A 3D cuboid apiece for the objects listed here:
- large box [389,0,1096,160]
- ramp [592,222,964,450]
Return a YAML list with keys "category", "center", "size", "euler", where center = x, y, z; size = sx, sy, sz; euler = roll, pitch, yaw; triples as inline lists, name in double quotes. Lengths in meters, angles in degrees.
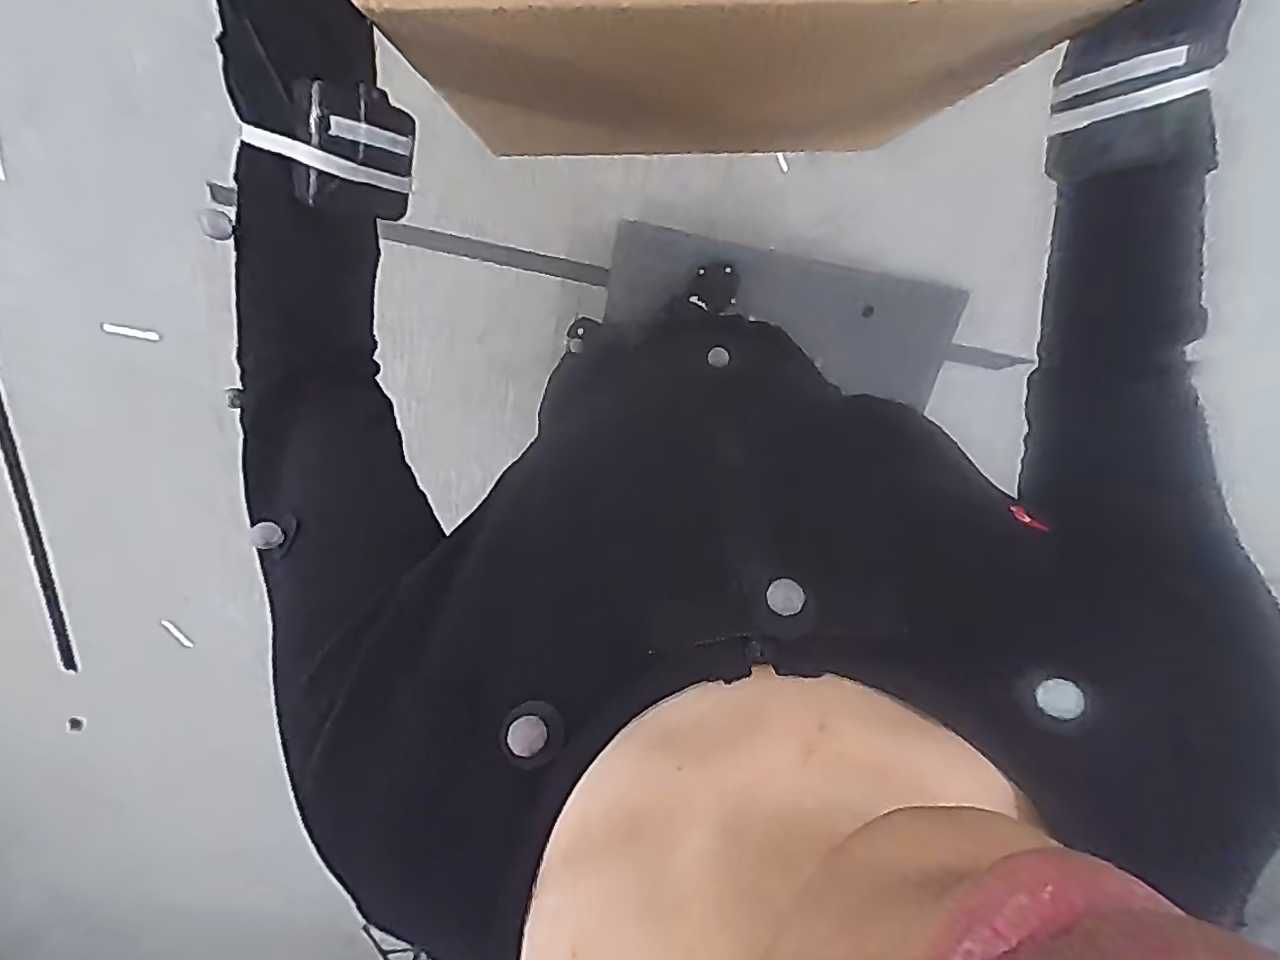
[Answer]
- category: "large box"
  center: [0.052, -0.443, 0.383]
  size: [0.408, 0.320, 0.320]
  euler: [-2, 109, -2]
- category: "ramp"
  center: [0.389, -0.359, 1.491]
  size: [0.991, 0.206, 0.509]
  euler: [8, 111, -3]
